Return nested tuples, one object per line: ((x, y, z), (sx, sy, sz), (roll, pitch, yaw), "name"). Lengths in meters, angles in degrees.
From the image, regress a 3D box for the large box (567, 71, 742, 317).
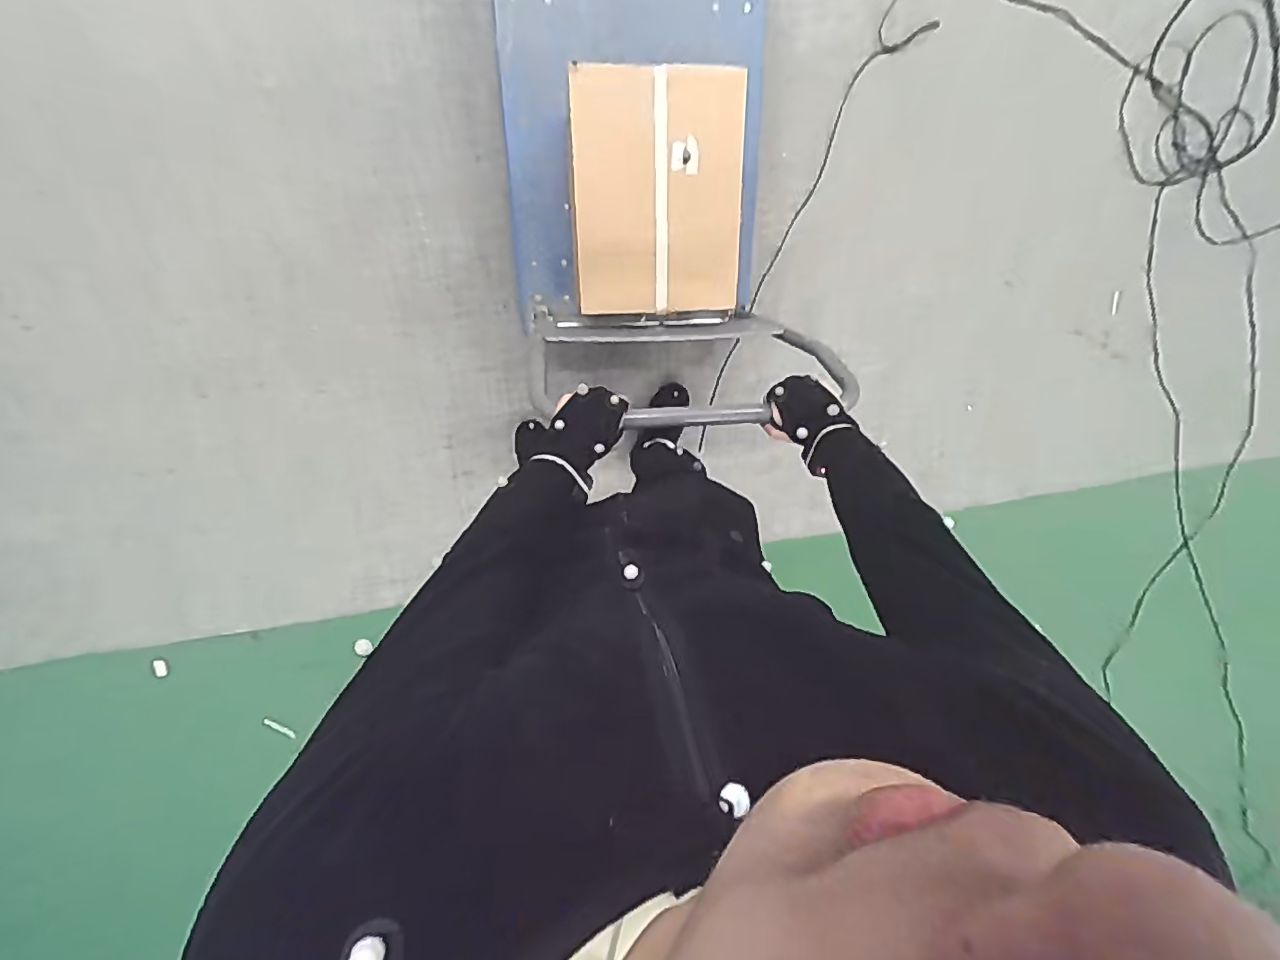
((0.018, -0.565, 1.134), (0.320, 0.320, 0.408), (-4, 111, -7), "large box")
